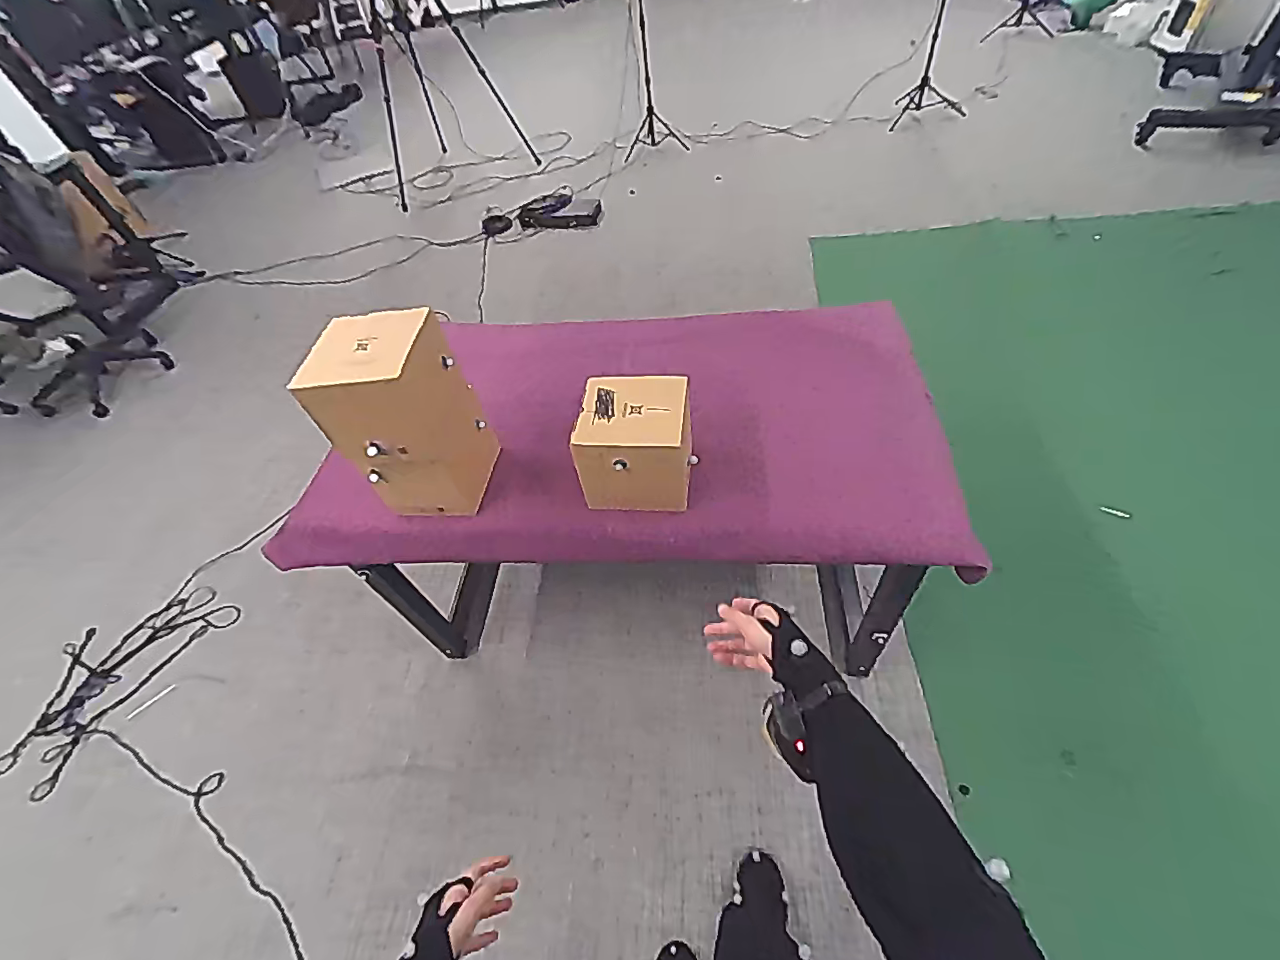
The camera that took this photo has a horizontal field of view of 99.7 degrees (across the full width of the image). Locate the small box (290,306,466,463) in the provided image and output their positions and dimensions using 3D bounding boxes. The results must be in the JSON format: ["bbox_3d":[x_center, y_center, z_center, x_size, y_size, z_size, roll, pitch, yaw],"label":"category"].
[{"bbox_3d":[-0.391,-0.147,0.847,0.168,0.176,0.179,-4,50,6],"label":"small box"}]

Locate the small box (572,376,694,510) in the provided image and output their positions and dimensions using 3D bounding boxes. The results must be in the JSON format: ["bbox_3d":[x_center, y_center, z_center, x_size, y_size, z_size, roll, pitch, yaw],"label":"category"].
[{"bbox_3d":[-0.002,-0.062,0.932,0.179,0.176,0.168,2,51,9],"label":"small box"}]
